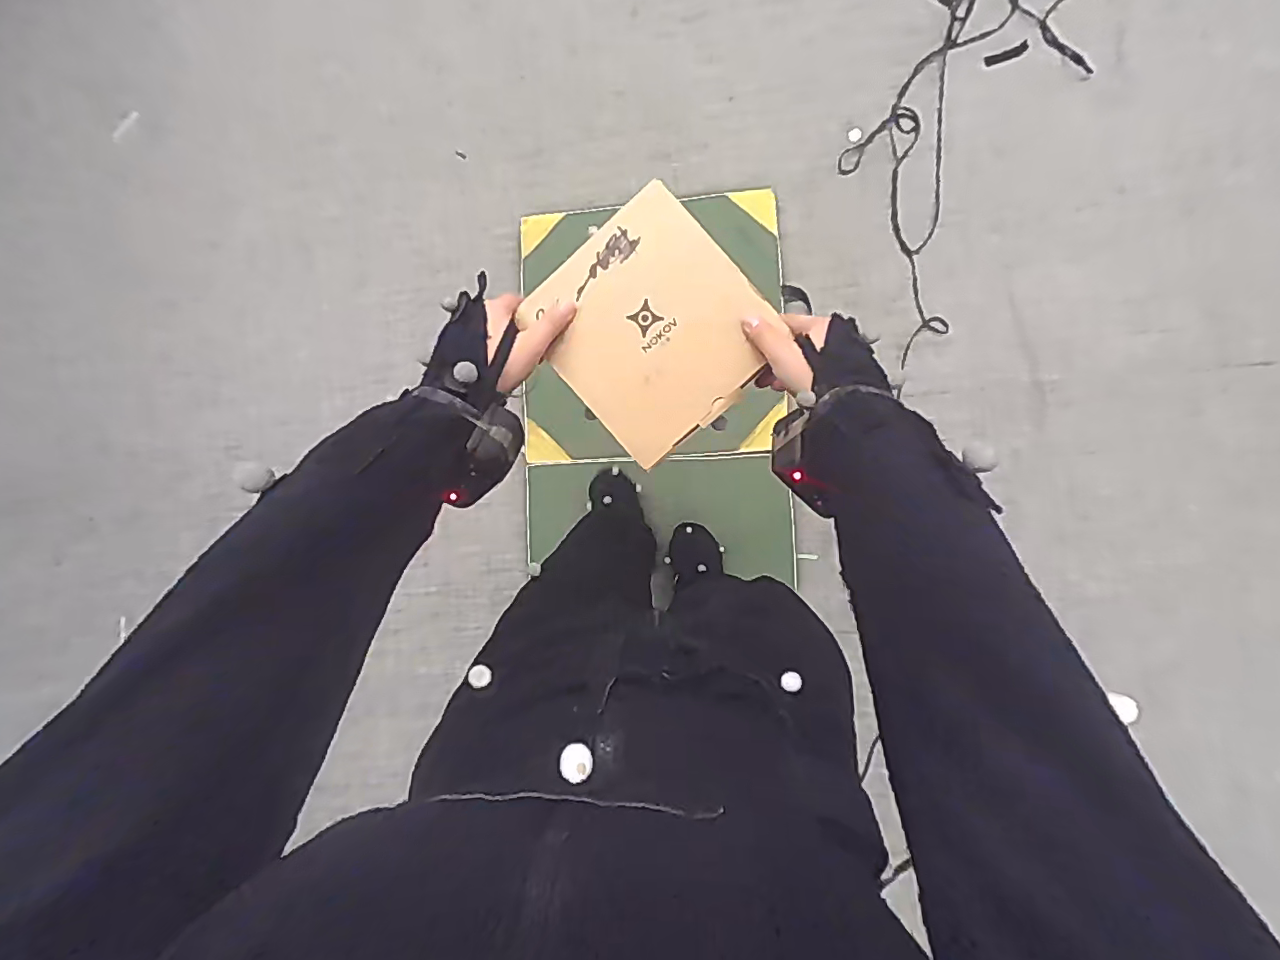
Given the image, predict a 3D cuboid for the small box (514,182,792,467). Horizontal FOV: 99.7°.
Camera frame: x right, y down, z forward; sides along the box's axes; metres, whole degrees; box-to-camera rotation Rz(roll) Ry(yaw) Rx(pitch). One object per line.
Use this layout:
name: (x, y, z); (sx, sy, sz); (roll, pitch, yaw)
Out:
small box: (0.014, -0.133, 0.525); (0.168, 0.176, 0.179); (-41, 91, 5)
